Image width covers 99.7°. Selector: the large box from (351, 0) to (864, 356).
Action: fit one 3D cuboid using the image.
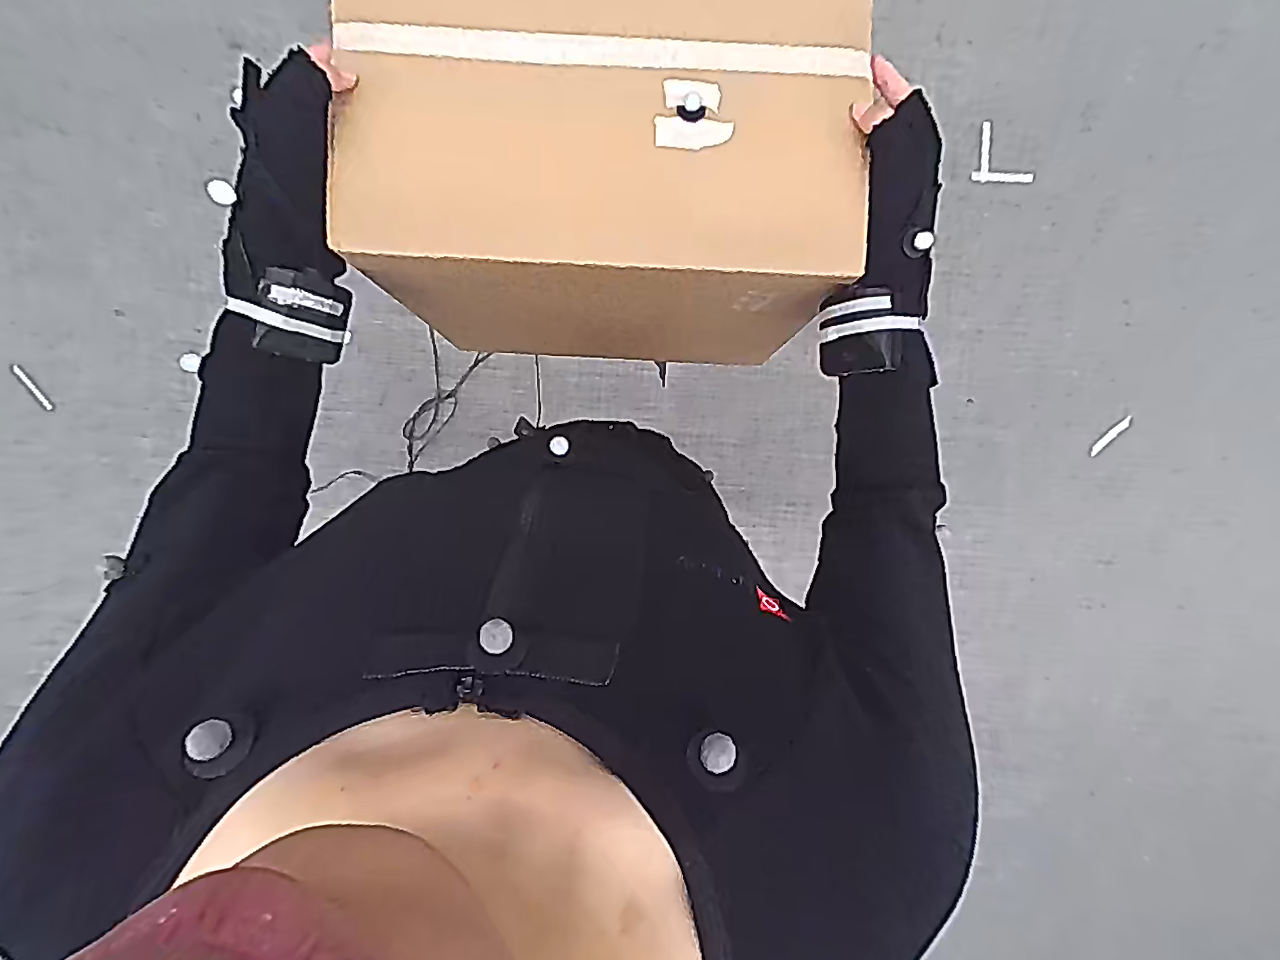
[{"bbox_3d":[-0.028,-0.323,0.573,0.408,0.320,0.320,2,90,-2],"label":"large box"}]
